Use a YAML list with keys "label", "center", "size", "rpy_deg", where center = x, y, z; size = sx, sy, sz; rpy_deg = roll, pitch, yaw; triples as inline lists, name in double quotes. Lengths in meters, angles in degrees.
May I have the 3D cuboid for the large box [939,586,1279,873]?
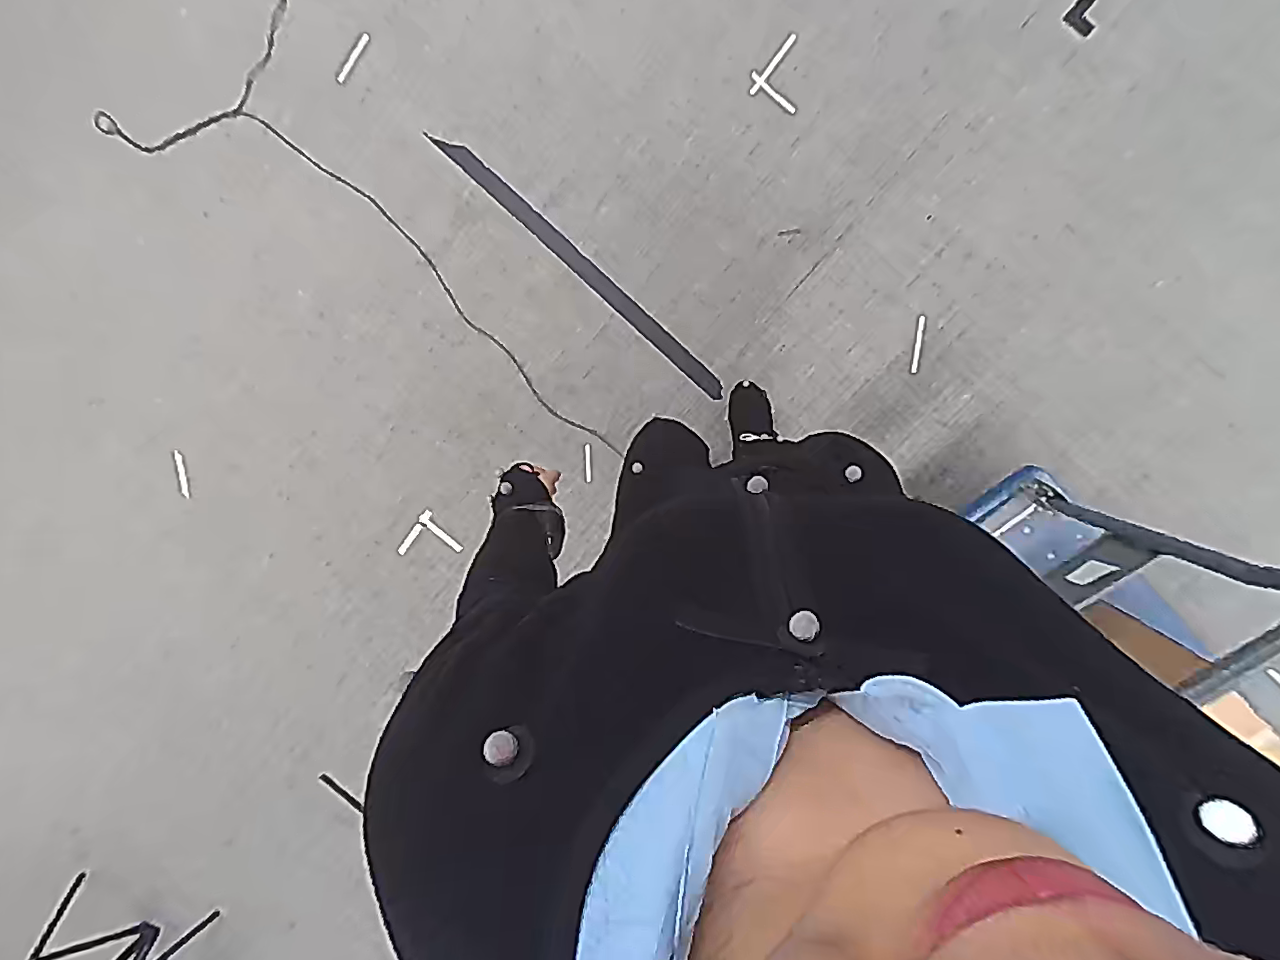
- label: "large box"
  center: [0.954, 0.503, 1.153]
  size: [0.408, 0.320, 0.320]
  rpy_deg: [-42, 93, 12]
